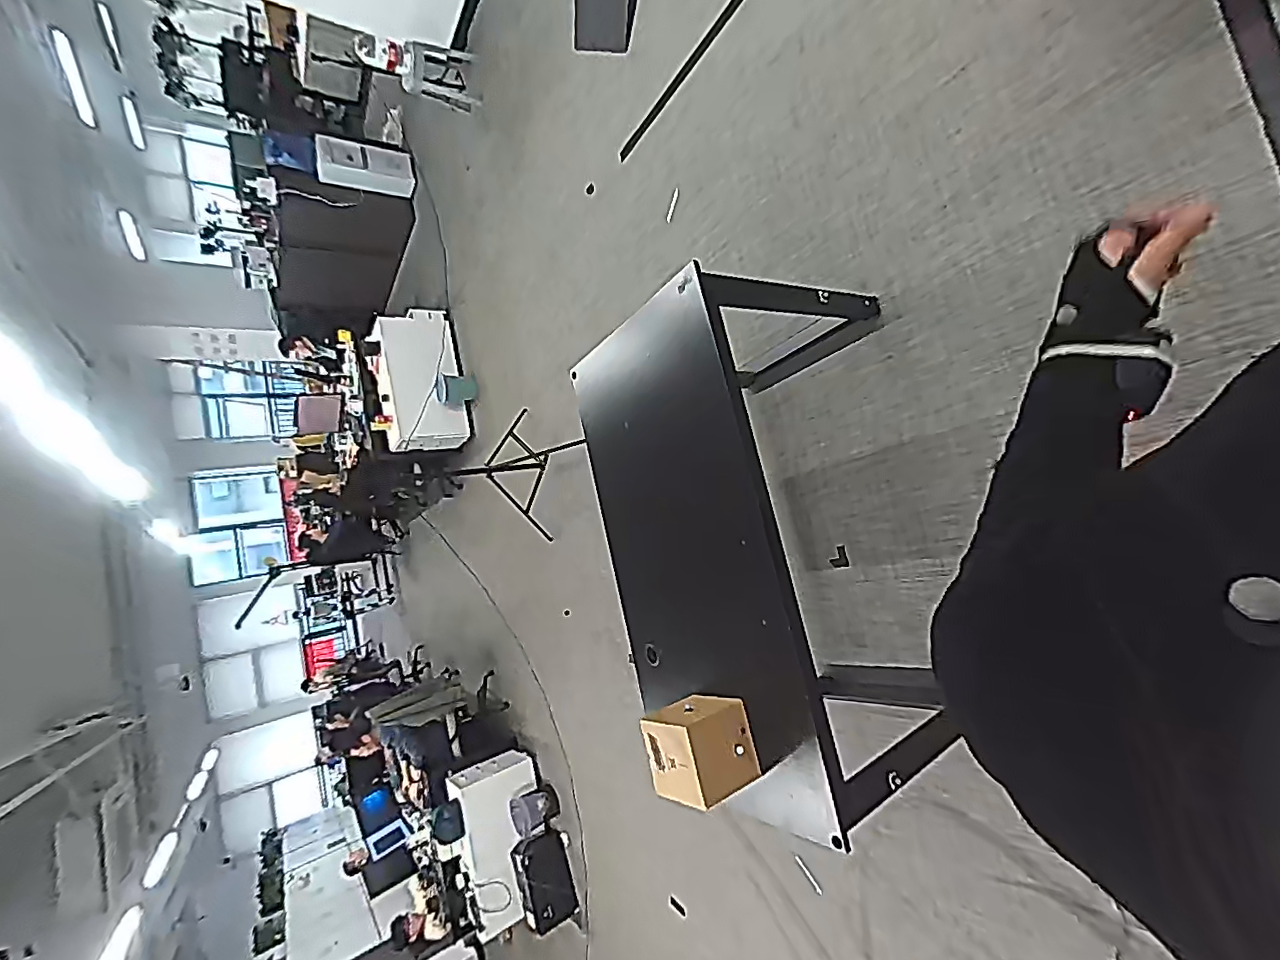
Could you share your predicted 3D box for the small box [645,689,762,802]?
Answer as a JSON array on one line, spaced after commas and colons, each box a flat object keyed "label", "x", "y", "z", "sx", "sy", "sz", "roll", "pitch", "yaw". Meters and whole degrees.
[{"label": "small box", "x": 0.141, "y": 0.578, "z": 1.205, "sx": 0.179, "sy": 0.176, "sz": 0.168, "roll": -26, "pitch": 76, "yaw": 53}]
